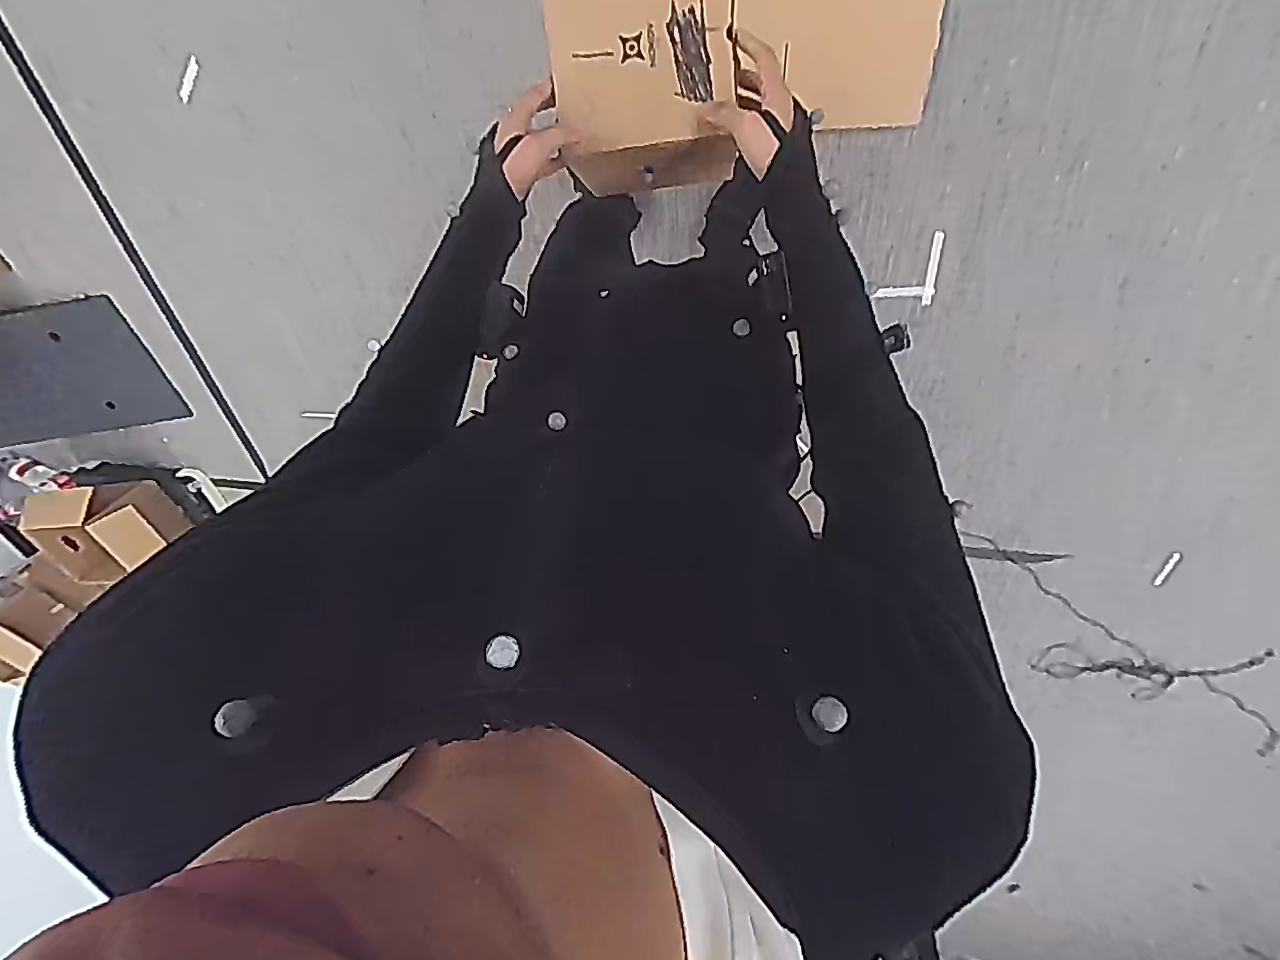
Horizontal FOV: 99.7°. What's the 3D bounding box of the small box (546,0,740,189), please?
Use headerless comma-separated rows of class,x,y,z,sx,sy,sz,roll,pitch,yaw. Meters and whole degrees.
small box,0.011,-0.428,0.579,0.179,0.176,0.168,-3,105,9
